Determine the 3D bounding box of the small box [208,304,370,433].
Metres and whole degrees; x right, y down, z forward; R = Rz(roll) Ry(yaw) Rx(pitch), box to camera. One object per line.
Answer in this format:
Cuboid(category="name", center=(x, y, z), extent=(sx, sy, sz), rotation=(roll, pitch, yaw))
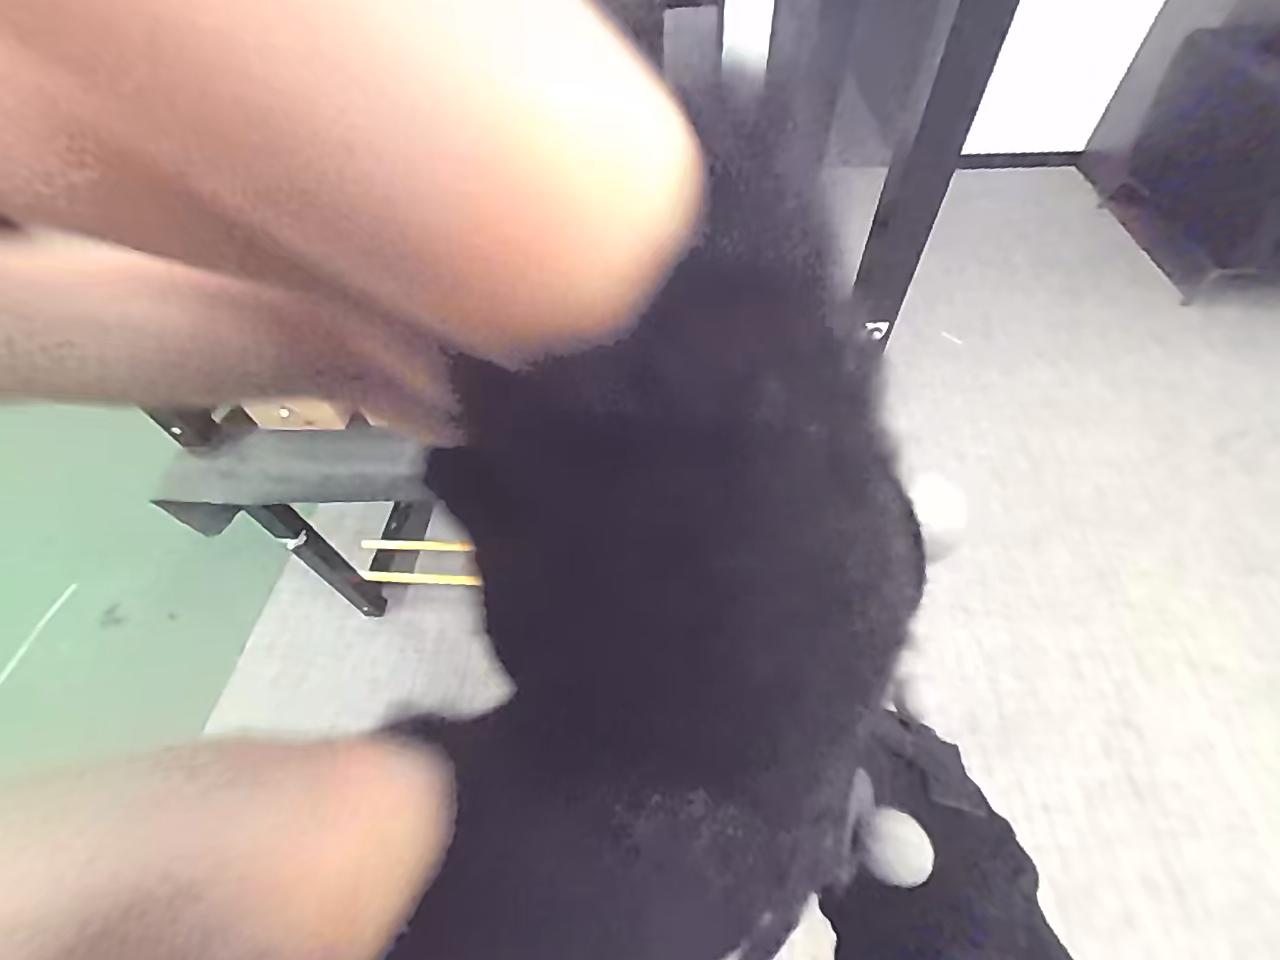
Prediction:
Cuboid(category="small box", center=(-0.636, -0.208, 1.011), extent=(0.168, 0.176, 0.179), rotation=(0, 52, 3))
